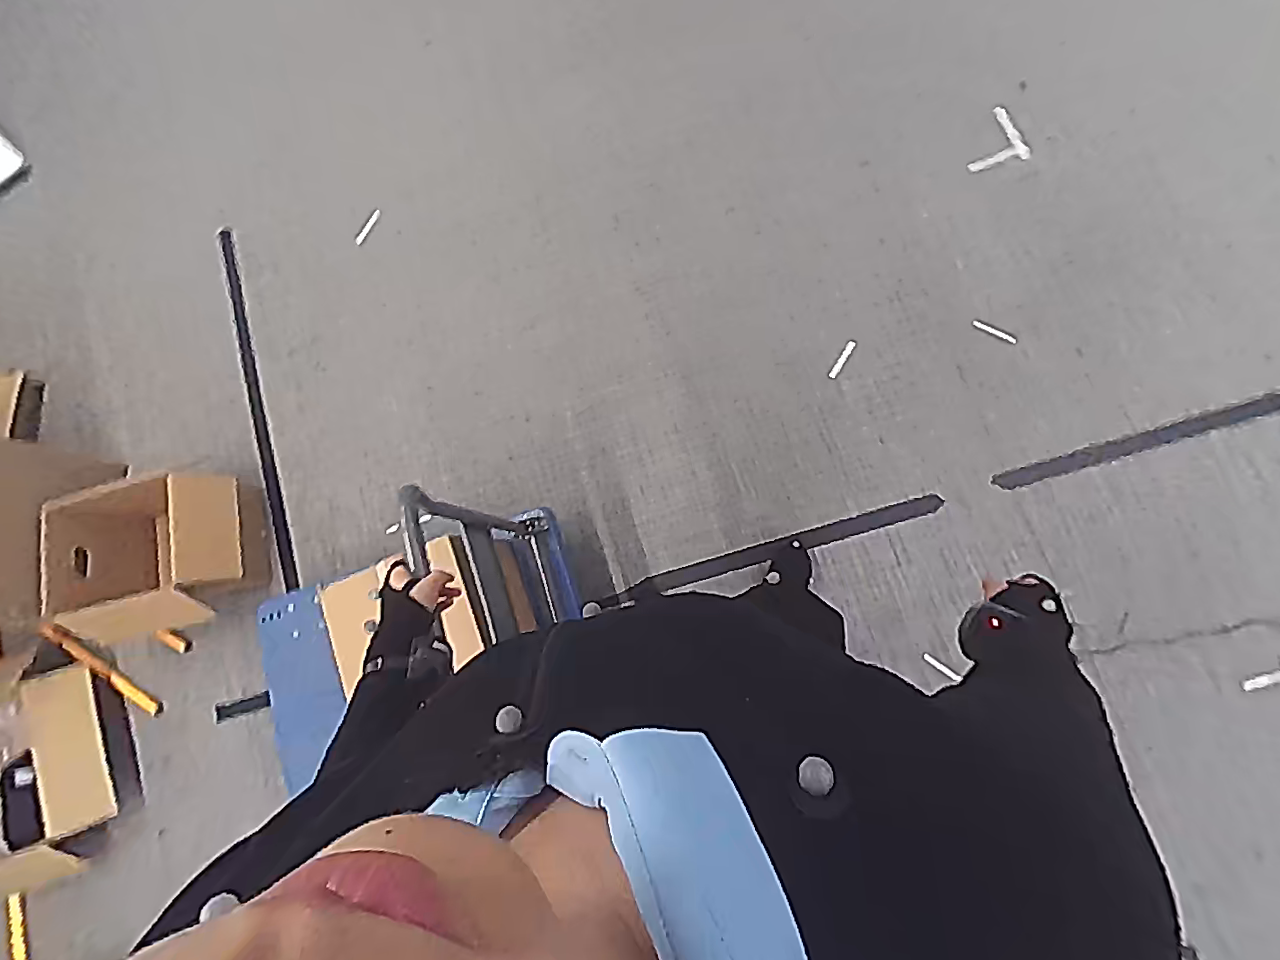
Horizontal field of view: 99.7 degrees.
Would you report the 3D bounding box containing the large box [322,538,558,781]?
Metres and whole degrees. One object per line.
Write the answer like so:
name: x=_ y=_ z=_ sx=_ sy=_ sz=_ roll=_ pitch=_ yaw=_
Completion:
large box: x=-0.433 y=0.378 z=1.230 sx=0.320 sy=0.320 sz=0.408 roll=-23 pitch=78 yaw=4
